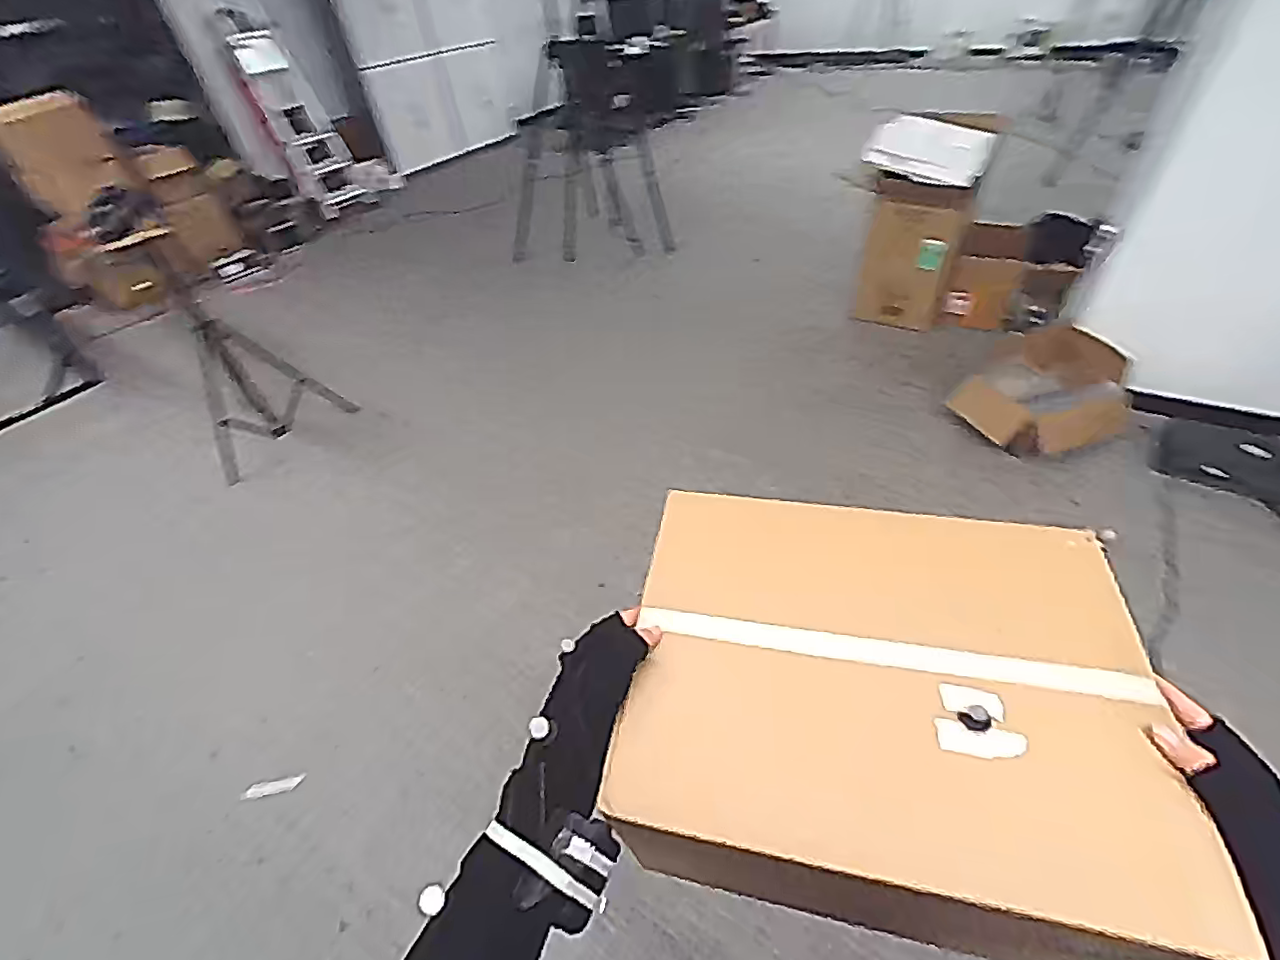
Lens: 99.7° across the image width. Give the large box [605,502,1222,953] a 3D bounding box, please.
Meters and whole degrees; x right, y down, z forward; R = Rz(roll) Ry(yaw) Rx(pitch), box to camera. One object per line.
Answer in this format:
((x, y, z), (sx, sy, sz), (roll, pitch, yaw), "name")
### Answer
((0.205, 0.250, 0.573), (0.408, 0.320, 0.320), (5, 49, 12), "large box")
